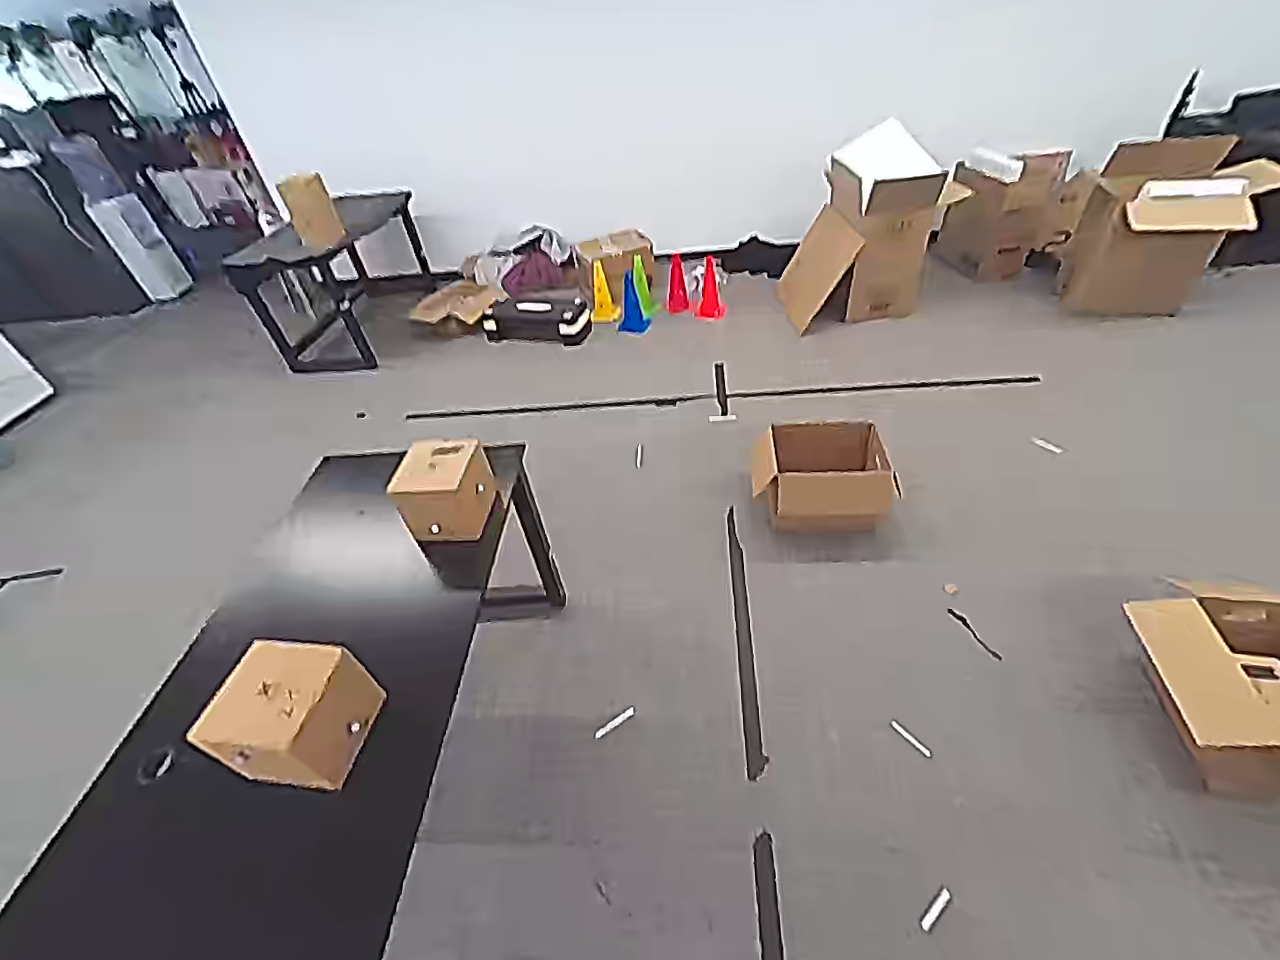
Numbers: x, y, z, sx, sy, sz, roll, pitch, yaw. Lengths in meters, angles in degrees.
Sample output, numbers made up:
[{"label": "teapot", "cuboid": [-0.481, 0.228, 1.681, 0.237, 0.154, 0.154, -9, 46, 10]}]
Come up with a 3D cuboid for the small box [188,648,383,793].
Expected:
[{"label": "small box", "cuboid": [-0.574, 0.401, 0.902, 0.179, 0.176, 0.168, 1, 43, 9]}]

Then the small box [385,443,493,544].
[{"label": "small box", "cuboid": [-0.466, 0.033, 1.287, 0.168, 0.176, 0.179, -2, 44, 7]}]
